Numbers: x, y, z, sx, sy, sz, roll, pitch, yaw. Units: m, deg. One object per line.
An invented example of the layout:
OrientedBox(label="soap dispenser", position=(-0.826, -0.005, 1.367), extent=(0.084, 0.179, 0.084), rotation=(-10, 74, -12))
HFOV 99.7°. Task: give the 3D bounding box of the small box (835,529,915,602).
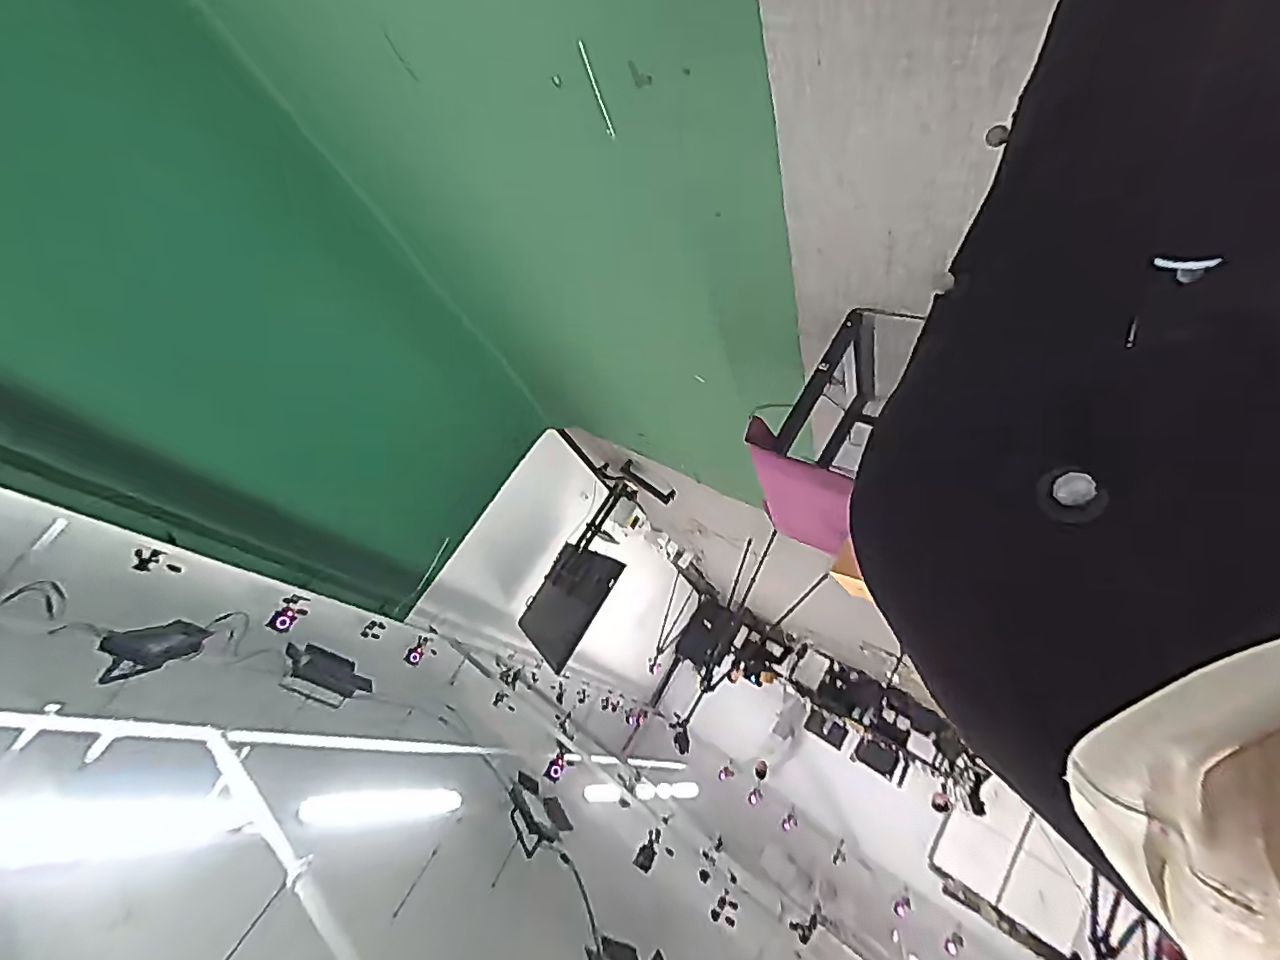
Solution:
OrientedBox(label="small box", position=(0.817, 0.291, 1.873), extent=(0.179, 0.176, 0.168), rotation=(40, 165, -30))
